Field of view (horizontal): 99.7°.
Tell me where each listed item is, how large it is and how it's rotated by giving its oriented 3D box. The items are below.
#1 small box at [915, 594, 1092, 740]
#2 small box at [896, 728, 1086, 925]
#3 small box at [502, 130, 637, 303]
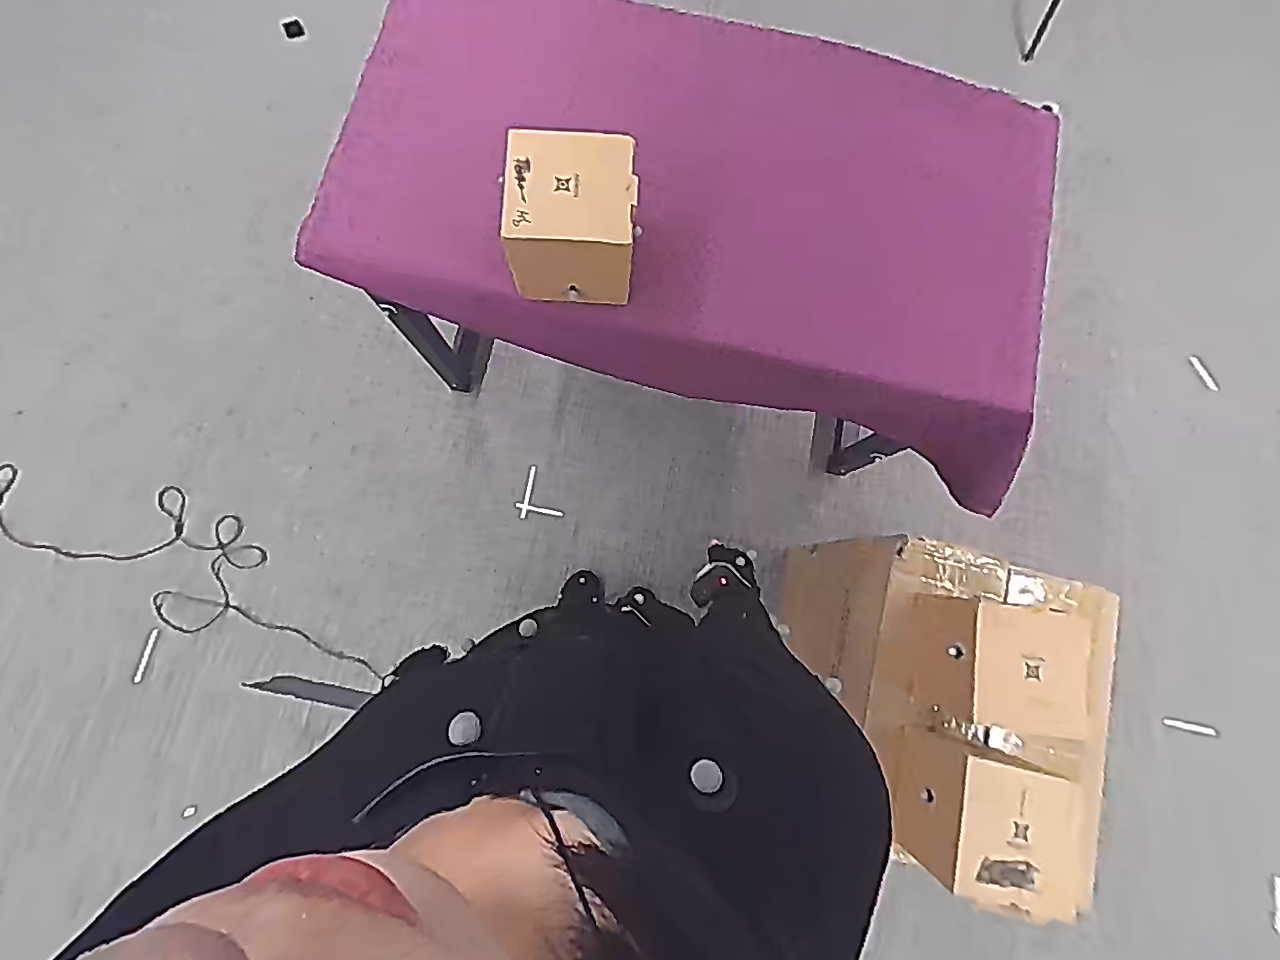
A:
[{"bbox_3d":[0.550,0.276,0.839,0.168,0.176,0.179,8,82,0],"label":"small box"},{"bbox_3d":[0.501,0.490,0.795,0.168,0.176,0.179,14,77,0],"label":"small box"},{"bbox_3d":[-0.100,-0.381,0.810,0.179,0.176,0.168,2,79,-4],"label":"small box"}]
